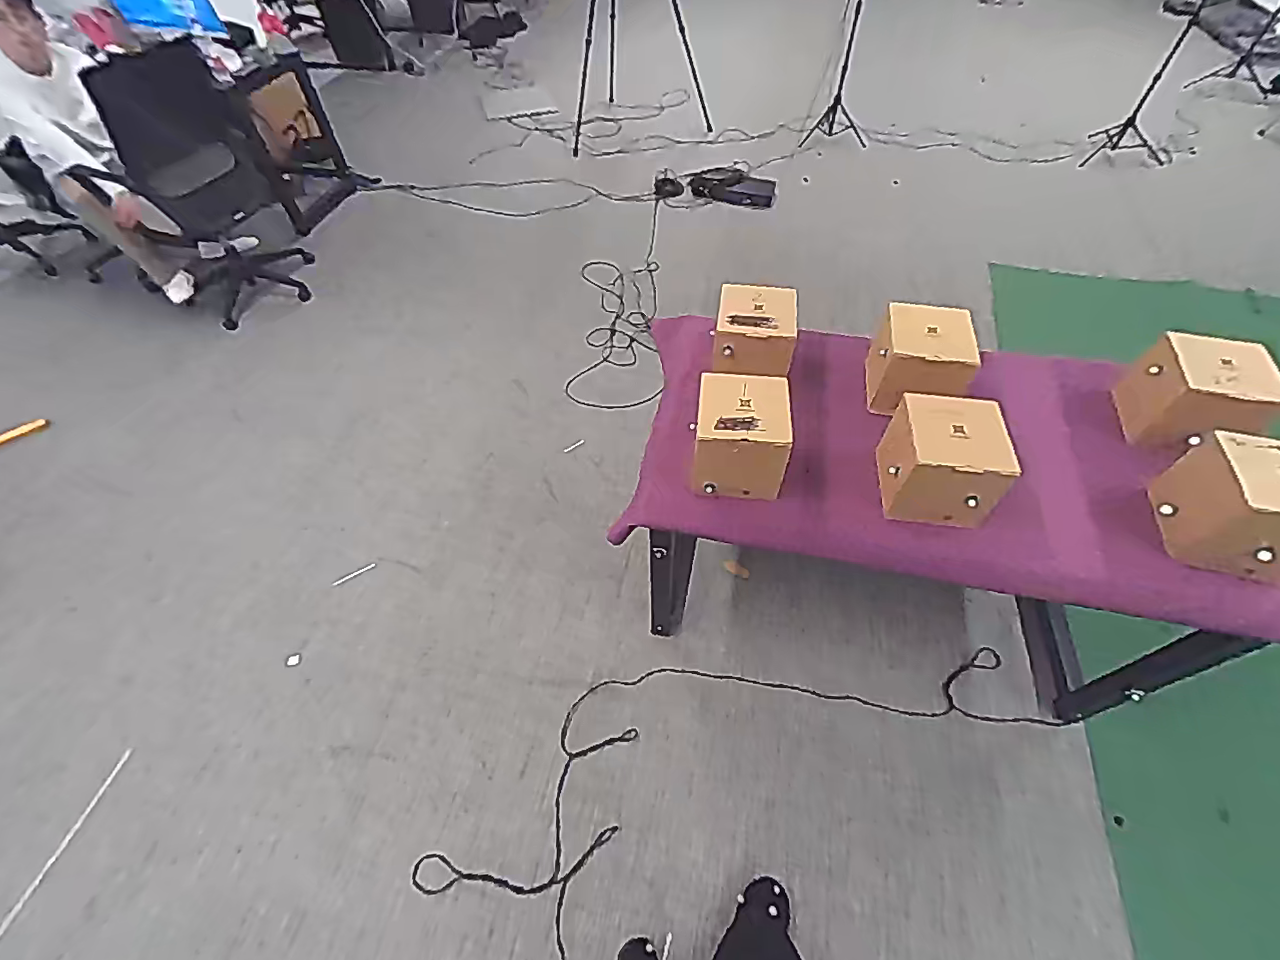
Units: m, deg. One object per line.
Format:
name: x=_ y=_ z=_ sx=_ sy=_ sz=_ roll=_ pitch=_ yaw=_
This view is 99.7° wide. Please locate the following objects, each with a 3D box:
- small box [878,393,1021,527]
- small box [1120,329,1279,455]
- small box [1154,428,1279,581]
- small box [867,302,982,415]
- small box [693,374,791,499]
small box: x=0.553 y=-0.033 z=0.993 sx=0.168 sy=0.176 sz=0.179 roll=7 pitch=52 yaw=7
small box: x=1.103 y=-0.168 z=1.070 sx=0.168 sy=0.176 sz=0.179 roll=12 pitch=55 yaw=13
small box: x=1.029 y=0.045 z=0.909 sx=0.168 sy=0.176 sz=0.179 roll=13 pitch=53 yaw=12
small box: x=0.597 y=-0.253 z=1.160 sx=0.168 sy=0.176 sz=0.179 roll=9 pitch=55 yaw=8
small box: x=0.190 y=-0.080 z=1.041 sx=0.168 sy=0.176 sz=0.179 roll=4 pitch=51 yaw=5
